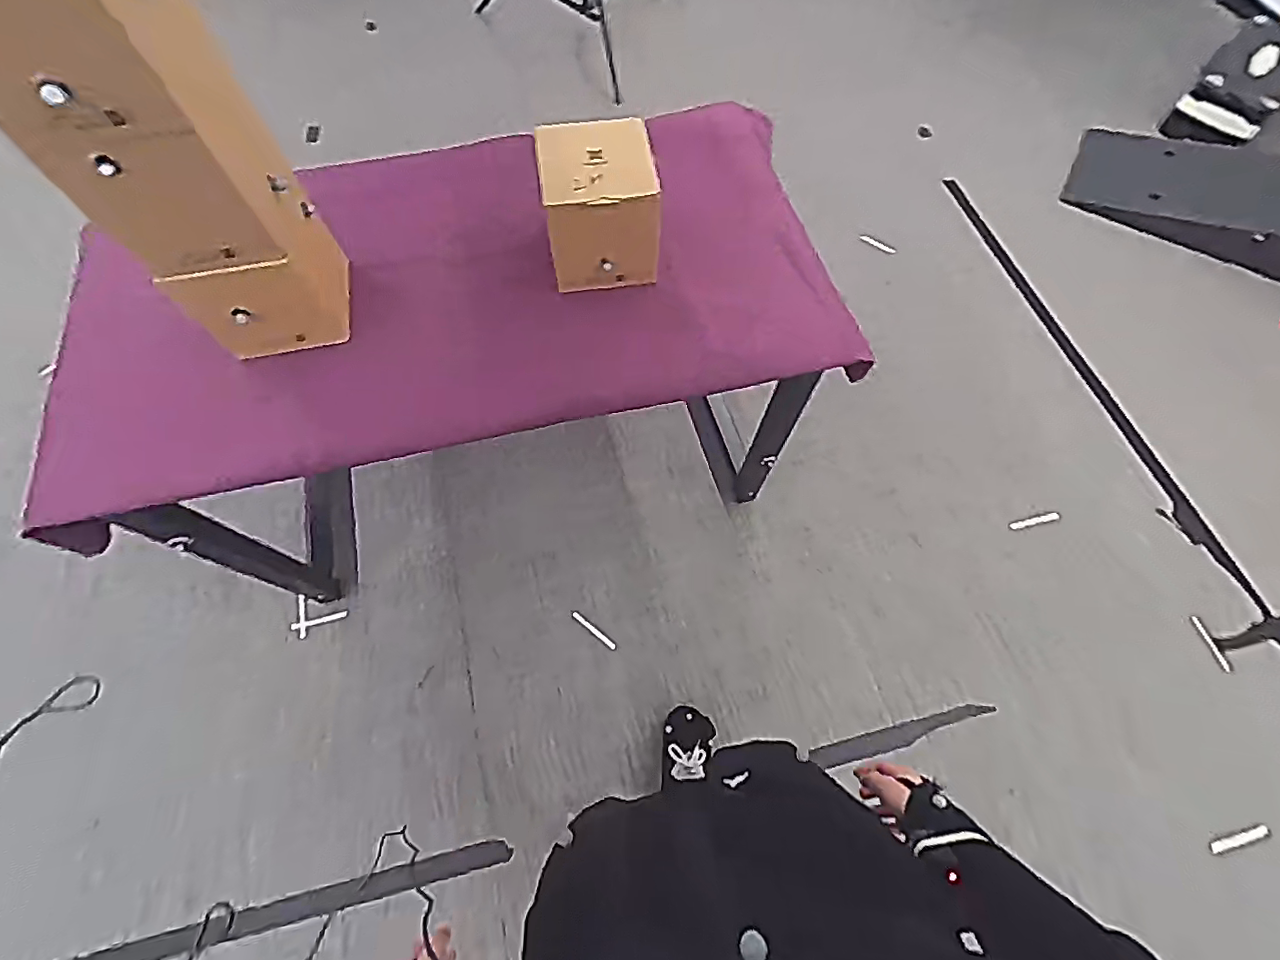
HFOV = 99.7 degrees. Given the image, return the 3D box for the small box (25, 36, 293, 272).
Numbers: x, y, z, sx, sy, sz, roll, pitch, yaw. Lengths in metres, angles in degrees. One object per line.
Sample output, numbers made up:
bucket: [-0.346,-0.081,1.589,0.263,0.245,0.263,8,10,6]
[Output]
small box: [-0.547,-0.383,0.648,0.168,0.176,0.179,-12,66,-6]

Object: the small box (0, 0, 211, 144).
small box: [-0.539,-0.449,0.497,0.168,0.176,0.179,-12,67,-6]

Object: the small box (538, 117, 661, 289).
small box: [-0.064,-0.434,0.857,0.168,0.176,0.179,-8,66,-4]

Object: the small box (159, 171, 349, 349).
small box: [-0.548,-0.311,0.795,0.168,0.176,0.179,-12,66,-6]
